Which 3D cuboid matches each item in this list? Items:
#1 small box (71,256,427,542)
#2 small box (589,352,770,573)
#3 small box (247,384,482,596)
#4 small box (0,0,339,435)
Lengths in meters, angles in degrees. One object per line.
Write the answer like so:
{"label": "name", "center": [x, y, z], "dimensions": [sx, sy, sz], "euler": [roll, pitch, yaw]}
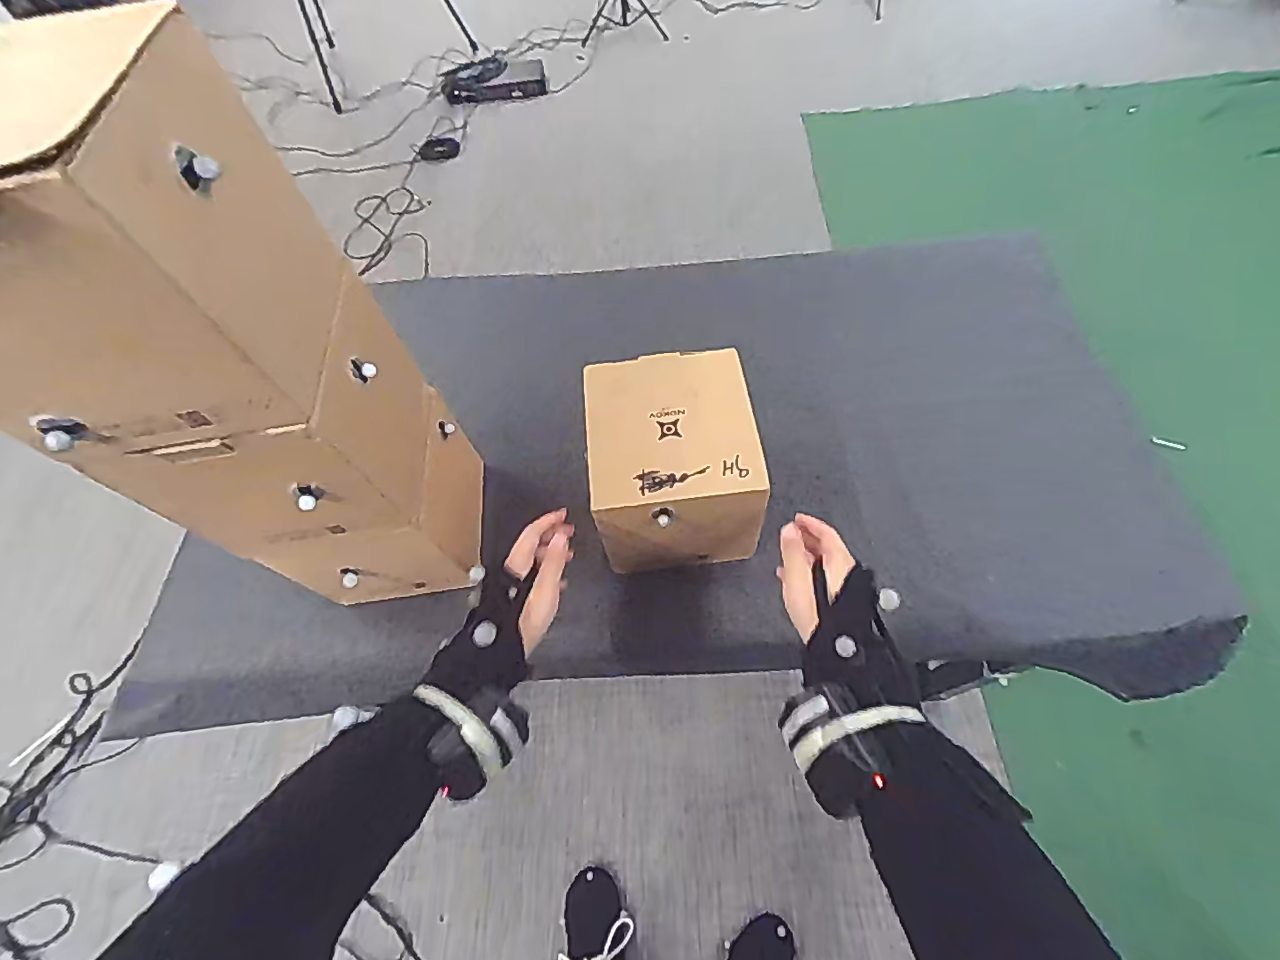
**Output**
{"label": "small box", "center": [-0.299, -0.058, 0.466], "dimensions": [0.168, 0.176, 0.179], "euler": [-8, 58, -1]}
{"label": "small box", "center": [0.036, -0.014, 0.599], "dimensions": [0.168, 0.176, 0.179], "euler": [-6, 59, 1]}
{"label": "small box", "center": [-0.286, 0.022, 0.607], "dimensions": [0.168, 0.176, 0.179], "euler": [-8, 59, 0]}
{"label": "small box", "center": [-0.310, -0.142, 0.325], "dimensions": [0.168, 0.176, 0.179], "euler": [-9, 59, -2]}
